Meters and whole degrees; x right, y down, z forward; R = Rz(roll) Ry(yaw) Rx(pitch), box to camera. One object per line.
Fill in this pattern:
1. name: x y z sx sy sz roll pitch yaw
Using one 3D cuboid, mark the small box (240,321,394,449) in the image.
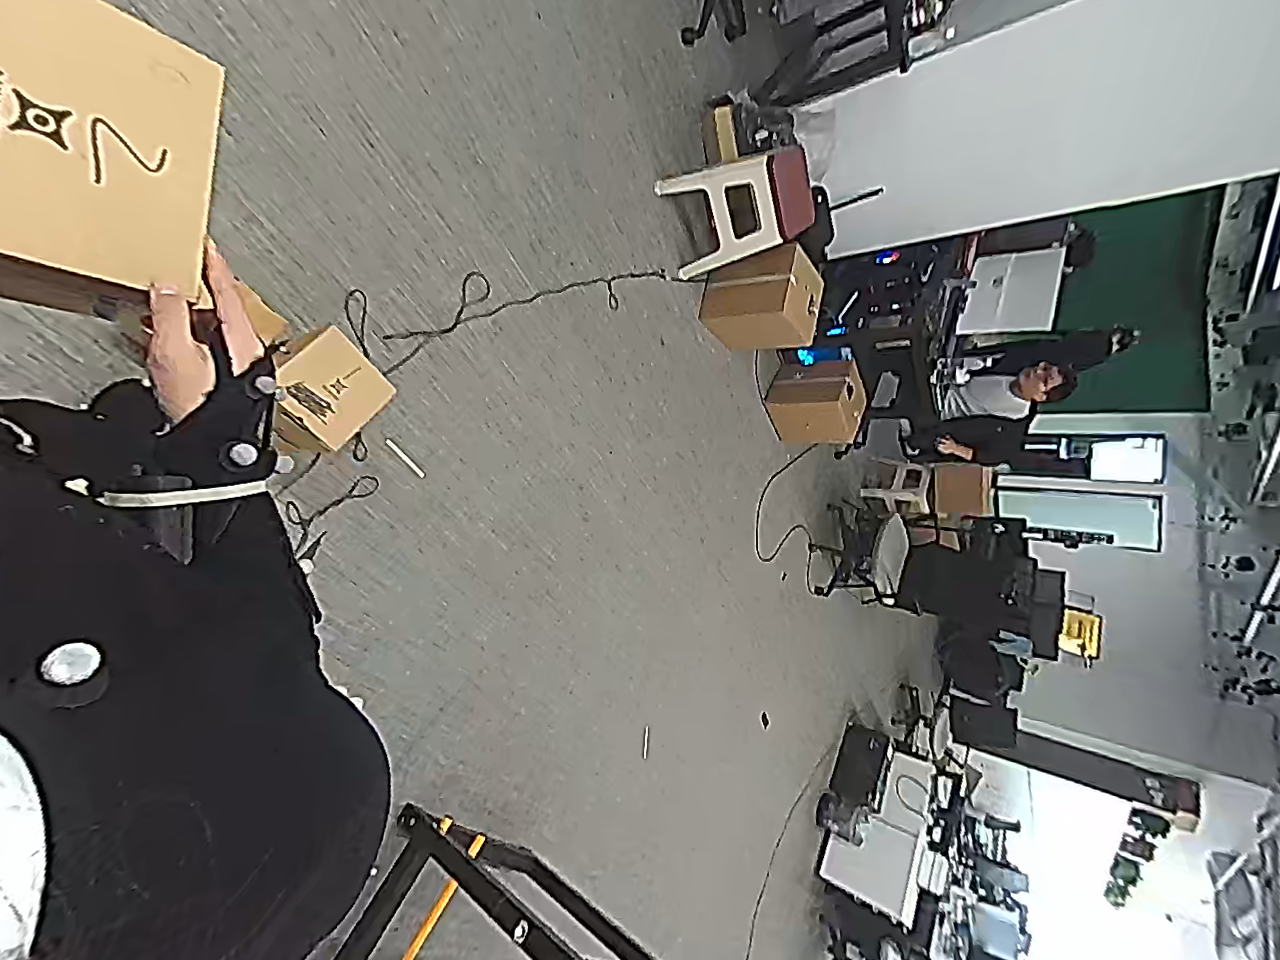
1. small box: -0.624 -0.177 1.039 0.179 0.176 0.168 -58 133 -29
